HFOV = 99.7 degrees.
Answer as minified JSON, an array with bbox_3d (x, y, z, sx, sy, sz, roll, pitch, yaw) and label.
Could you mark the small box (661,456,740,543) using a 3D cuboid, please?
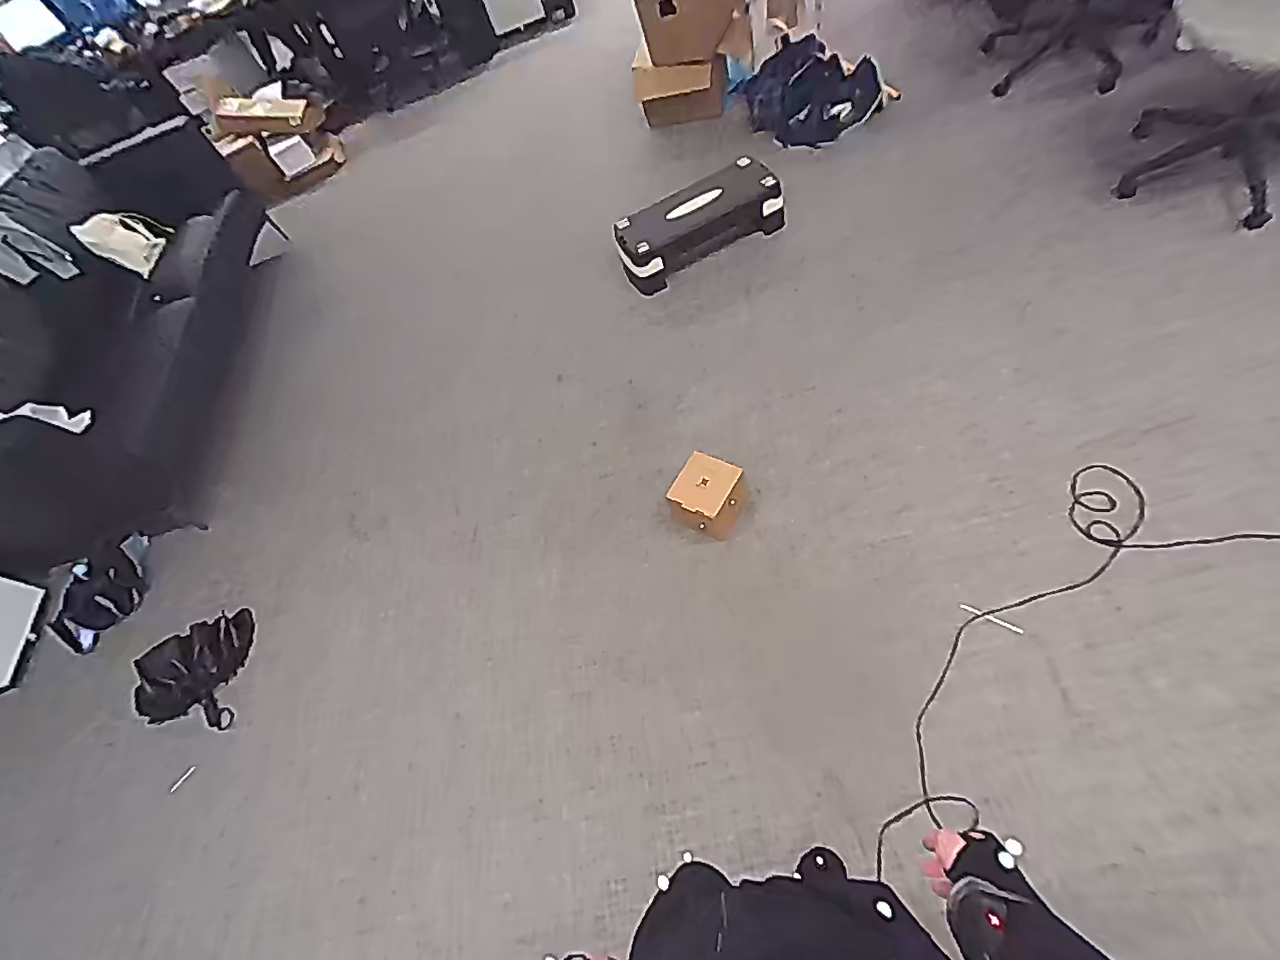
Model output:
[{"bbox_3d":[0.191,0.065,1.634,0.168,0.176,0.179,24,68,27],"label":"small box"}]
